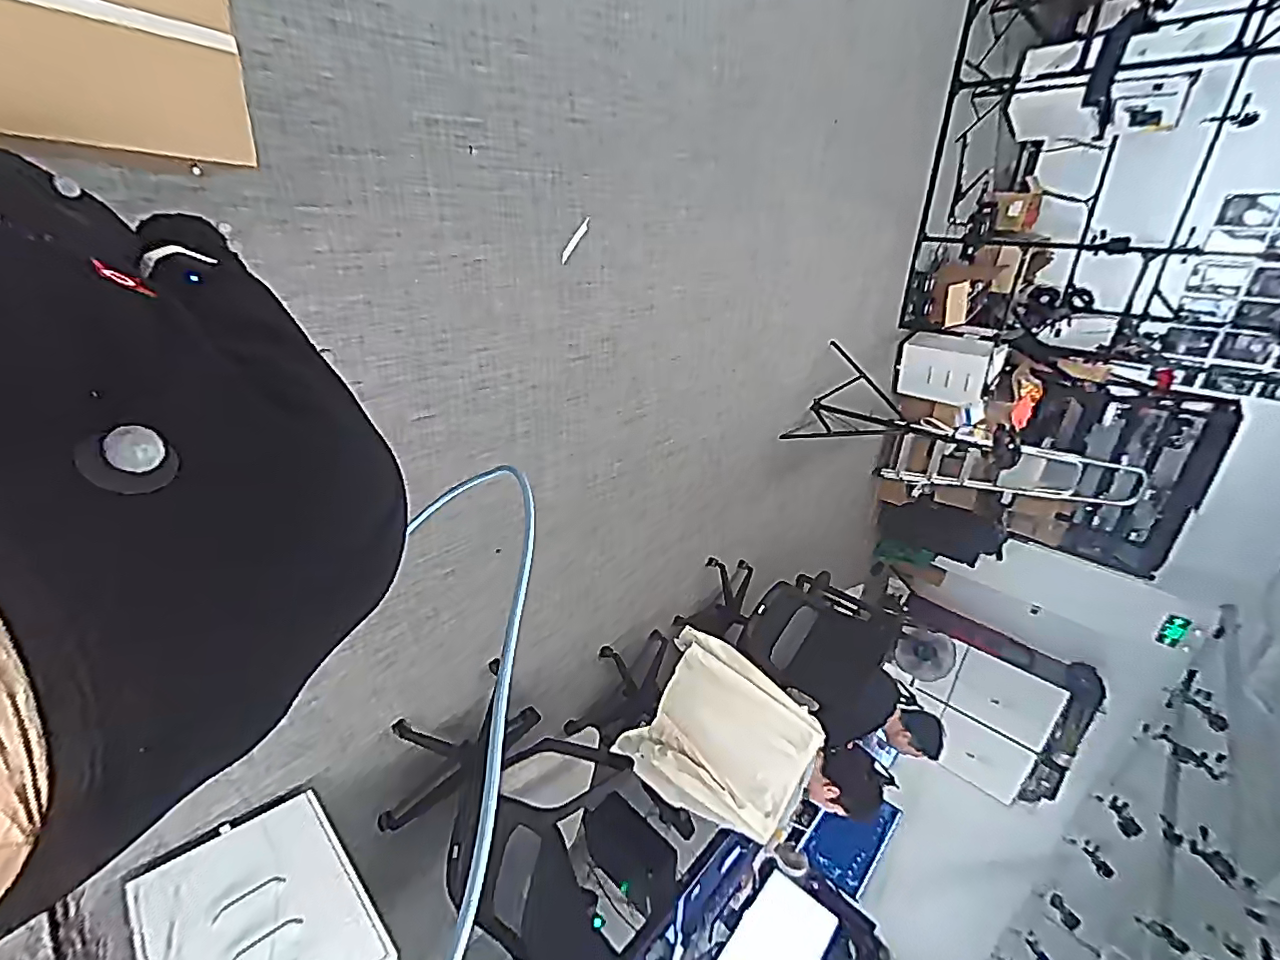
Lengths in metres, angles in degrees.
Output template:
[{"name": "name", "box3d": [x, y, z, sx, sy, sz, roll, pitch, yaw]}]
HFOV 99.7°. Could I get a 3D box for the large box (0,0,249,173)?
[{"name": "large box", "box3d": [-0.841, -0.618, 0.737, 0.408, 0.320, 0.320, -20, 122, -44]}]
